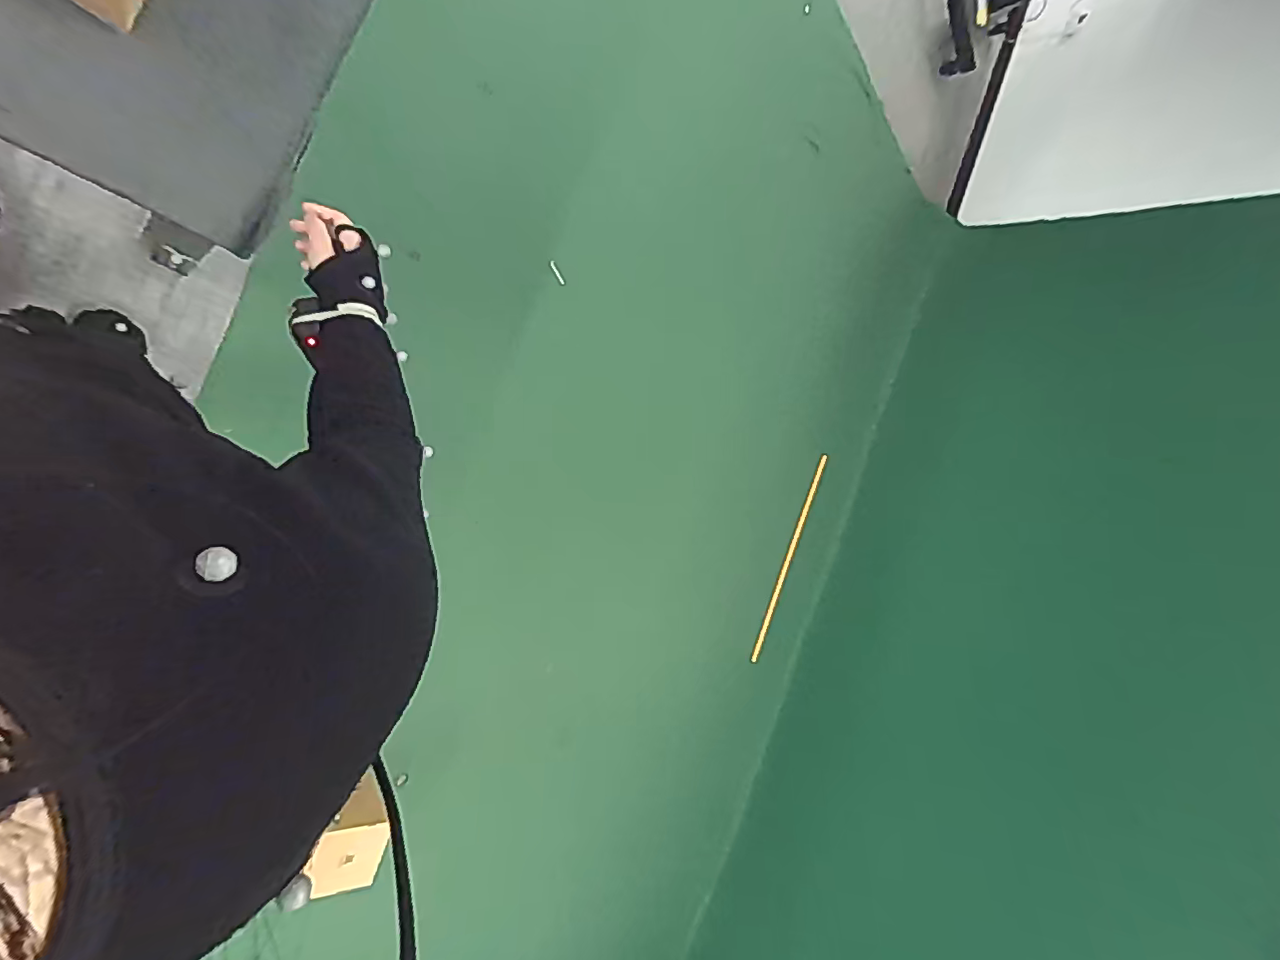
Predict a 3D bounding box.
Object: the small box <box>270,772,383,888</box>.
[{"bbox_3d":[-0.778,0.852,1.338,0.179,0.176,0.168,24,86,-45],"label":"small box"}]
